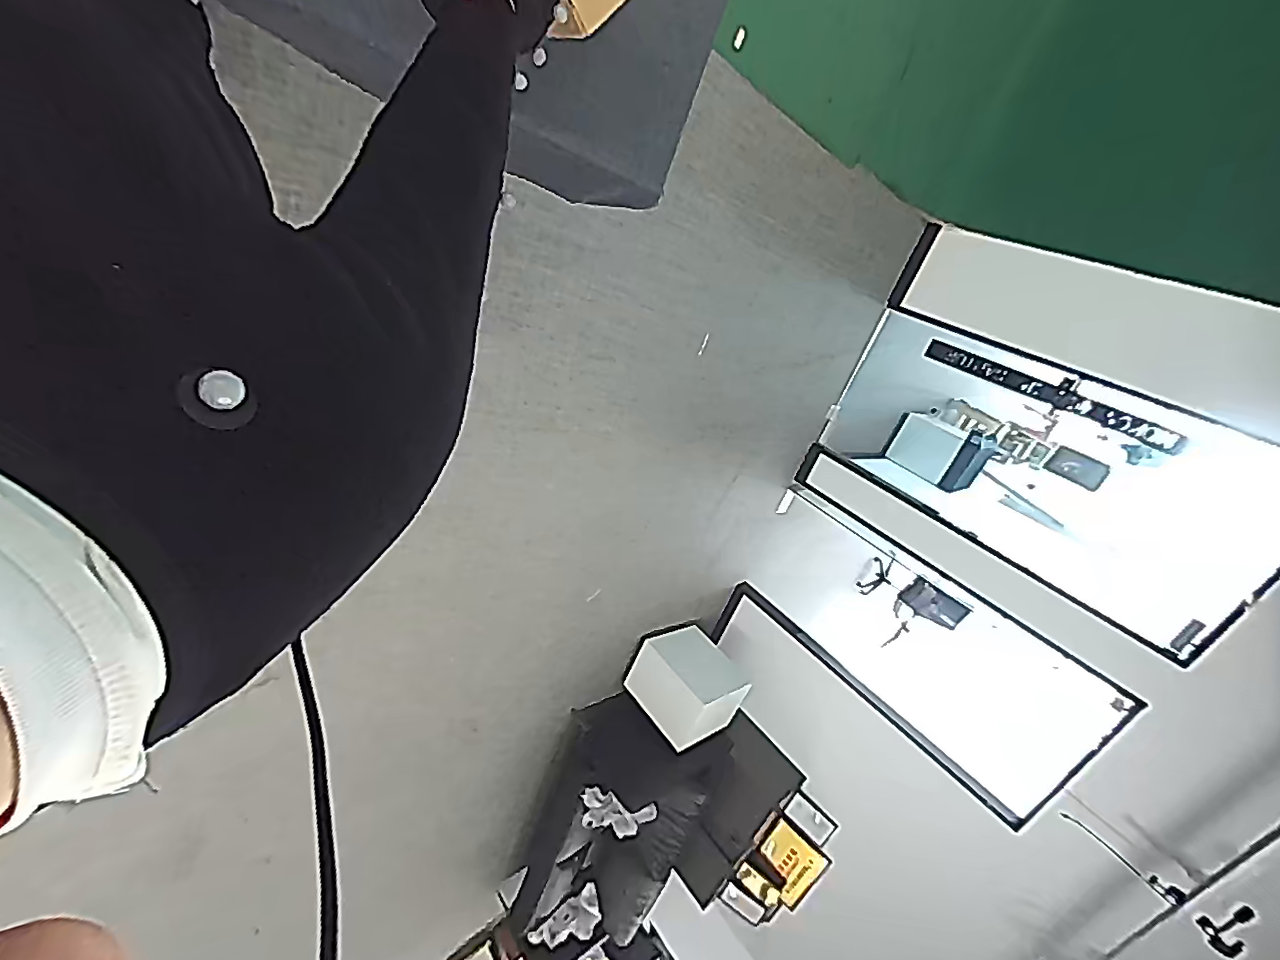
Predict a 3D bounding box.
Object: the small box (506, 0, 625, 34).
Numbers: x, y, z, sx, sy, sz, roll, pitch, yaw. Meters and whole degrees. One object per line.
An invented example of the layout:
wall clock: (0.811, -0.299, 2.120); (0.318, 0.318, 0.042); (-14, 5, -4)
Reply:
small box: (-0.083, -0.640, 0.598); (0.179, 0.176, 0.168); (-48, 145, -3)
